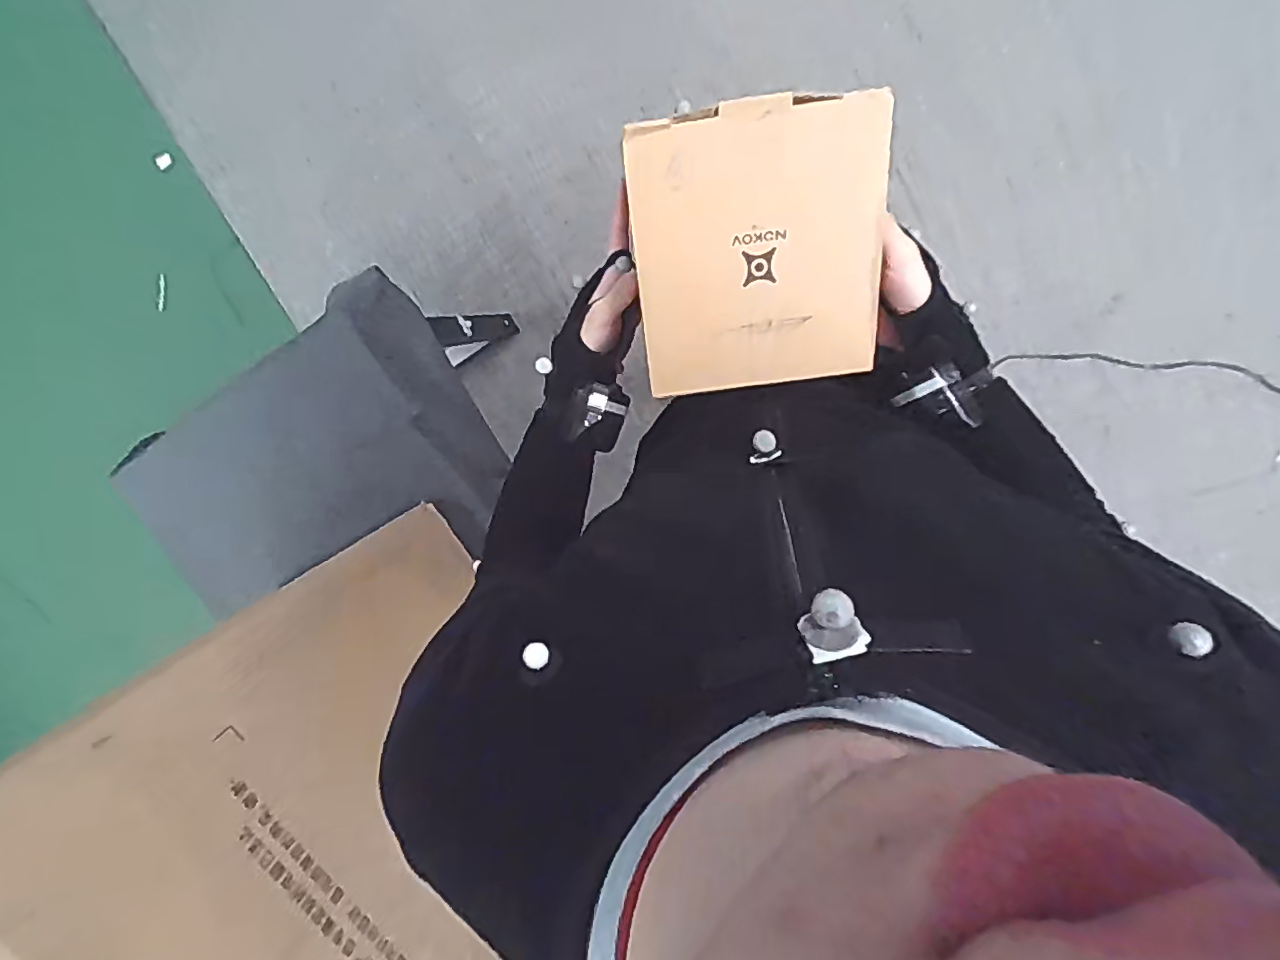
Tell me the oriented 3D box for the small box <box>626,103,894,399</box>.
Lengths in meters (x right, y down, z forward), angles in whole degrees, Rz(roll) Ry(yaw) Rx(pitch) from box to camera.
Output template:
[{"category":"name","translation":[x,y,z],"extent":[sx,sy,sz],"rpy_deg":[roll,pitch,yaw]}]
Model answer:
[{"category":"small box","translation":[0.078,-0.182,0.436],"extent":[0.168,0.176,0.179],"rpy_deg":[-6,120,1]}]
